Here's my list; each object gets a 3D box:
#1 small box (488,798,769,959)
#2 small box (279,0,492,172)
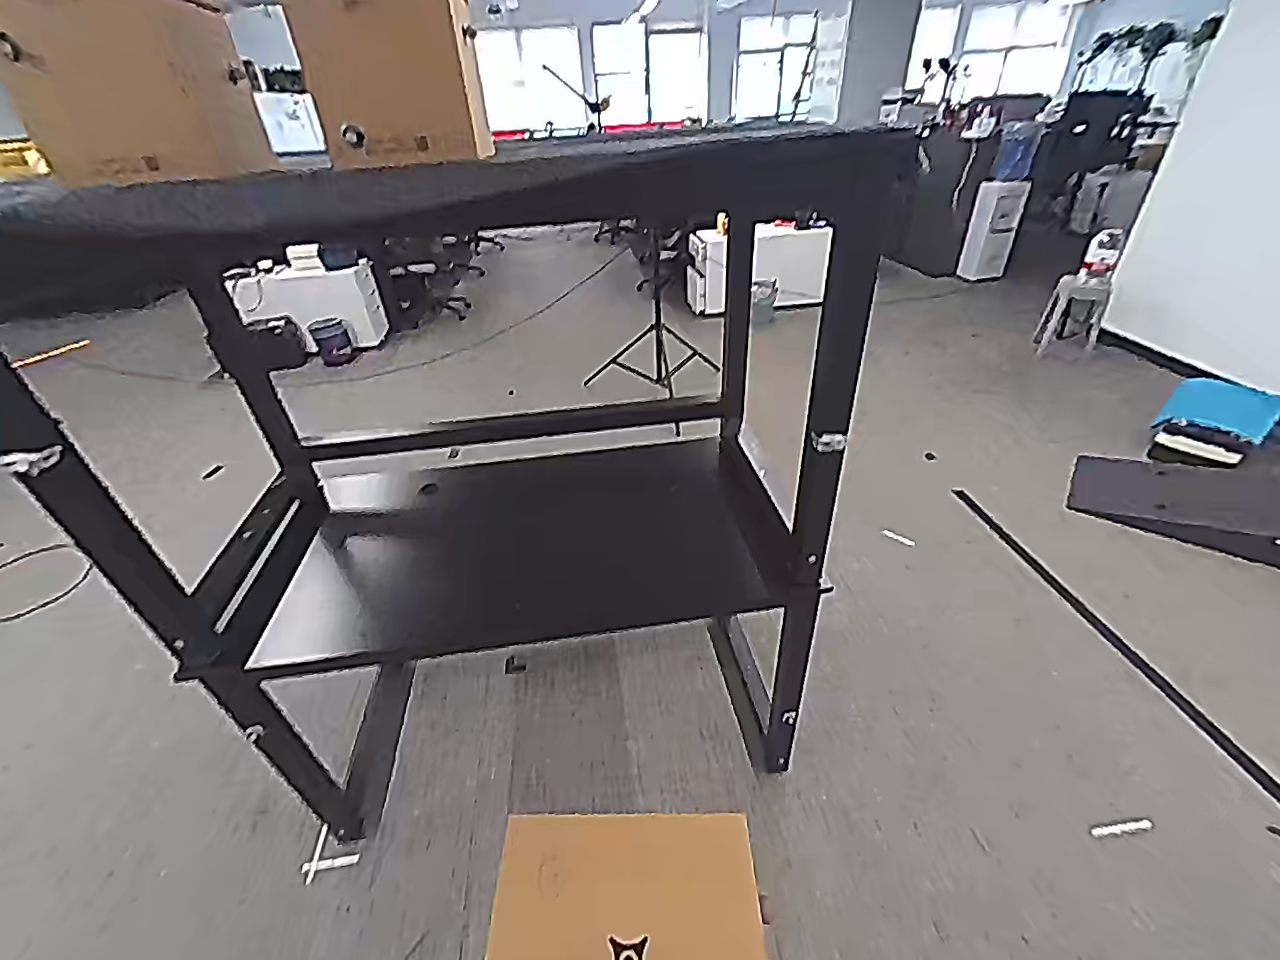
[{"bbox_3d":[-0.008,0.341,0.359,0.168,0.176,0.179,0,38,0],"label":"small box"},{"bbox_3d":[-0.280,-0.469,0.643,0.168,0.176,0.179,-7,33,-5],"label":"small box"}]
